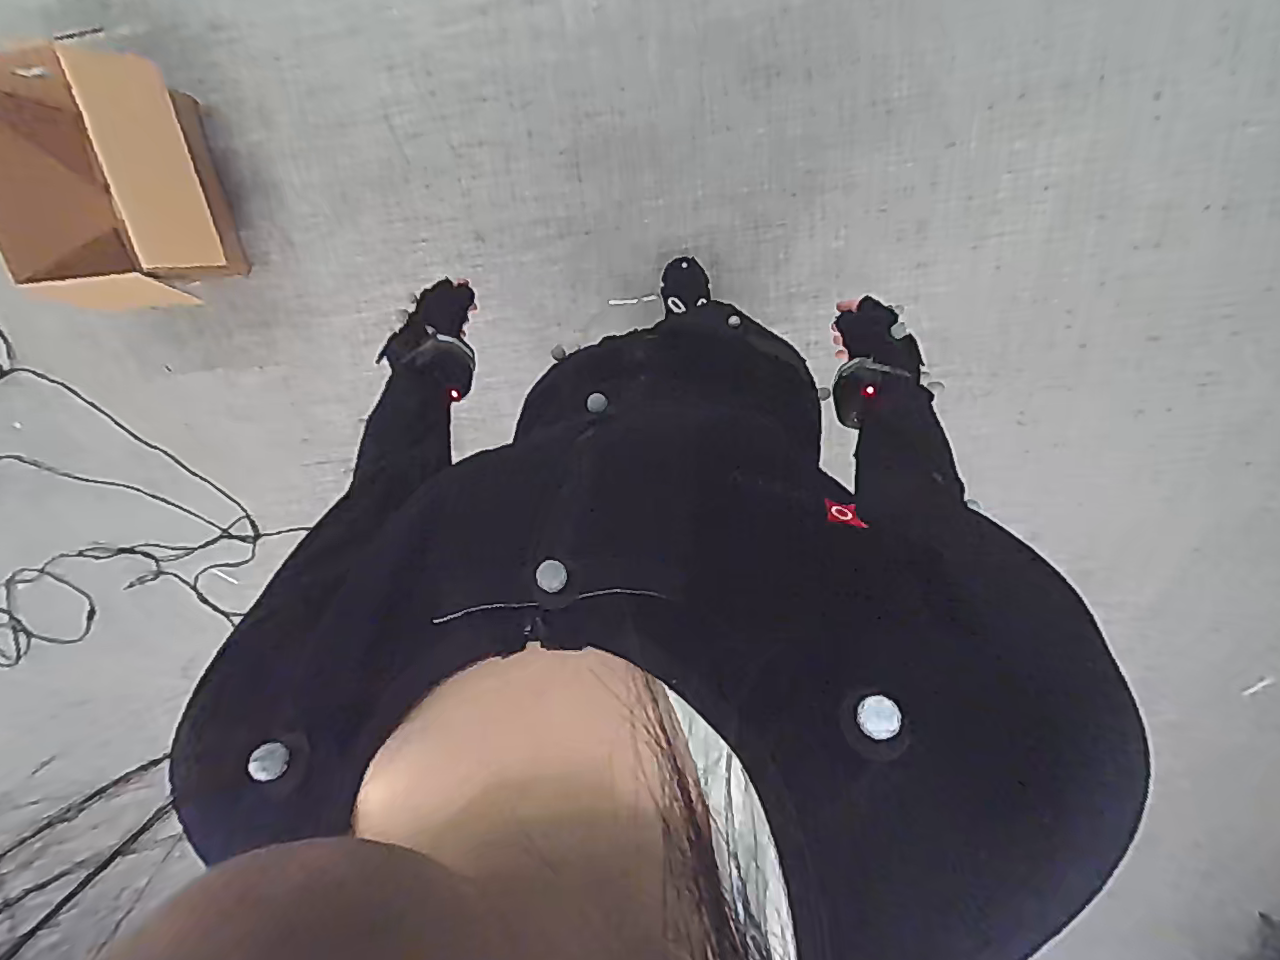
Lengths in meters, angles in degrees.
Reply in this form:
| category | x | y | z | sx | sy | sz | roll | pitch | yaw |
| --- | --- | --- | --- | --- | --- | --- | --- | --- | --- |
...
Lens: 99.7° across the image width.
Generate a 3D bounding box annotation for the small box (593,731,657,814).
| category | x | y | z | sx | sy | sz | roll | pitch | yaw |
| --- | --- | --- | --- | --- | --- | --- | --- | --- | --- |
| small box | -0.042 | 0.936 | 1.740 | 0.179 | 0.176 | 0.168 | -7 | 107 | 5 |
